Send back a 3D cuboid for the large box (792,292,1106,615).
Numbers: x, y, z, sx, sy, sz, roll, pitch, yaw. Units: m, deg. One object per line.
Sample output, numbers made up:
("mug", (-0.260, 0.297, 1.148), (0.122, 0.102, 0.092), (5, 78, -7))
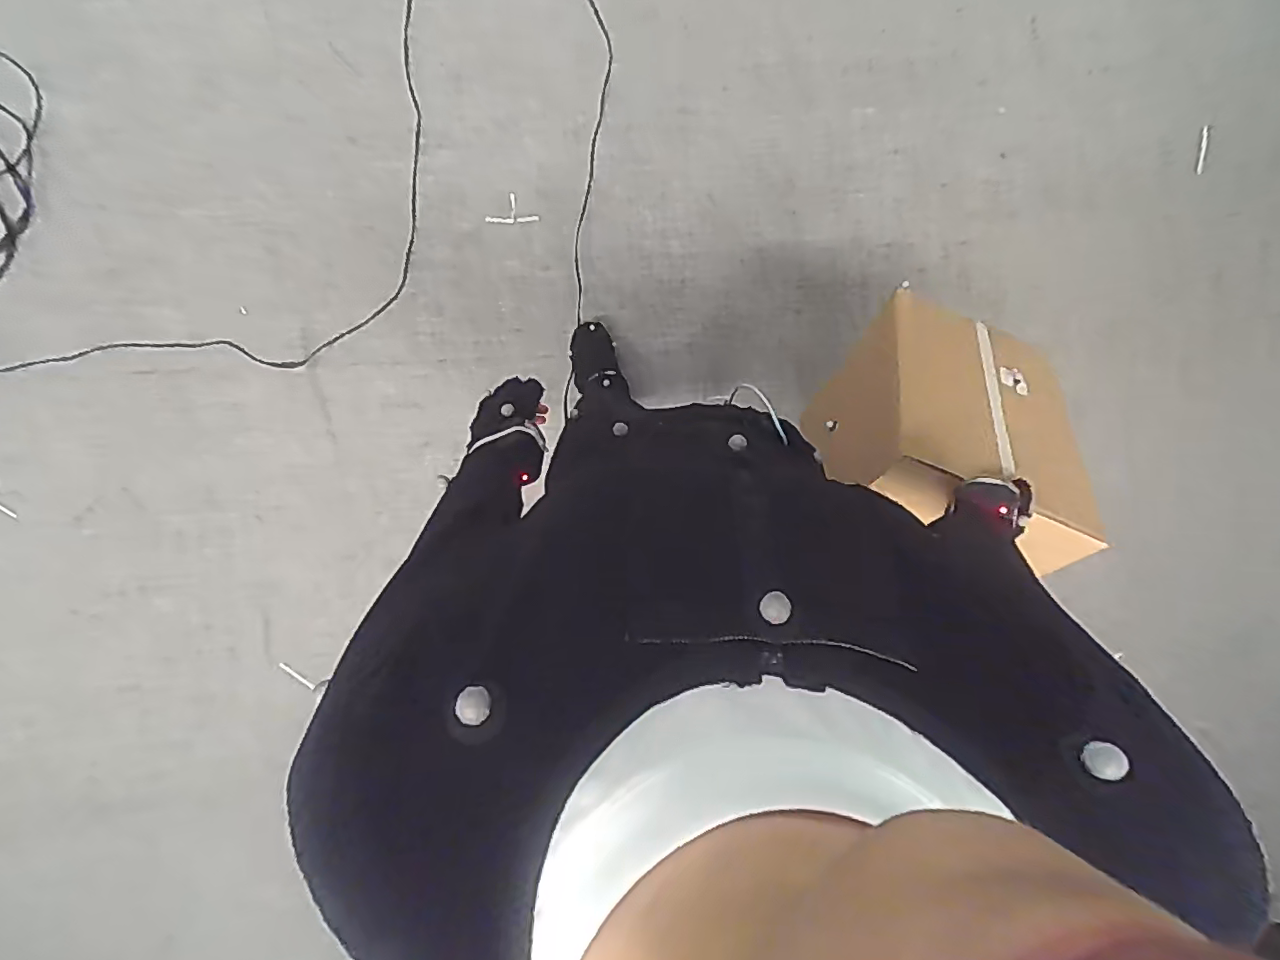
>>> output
("large box", (0.486, -0.040, 0.941), (0.320, 0.408, 0.320), (23, 142, -5))
